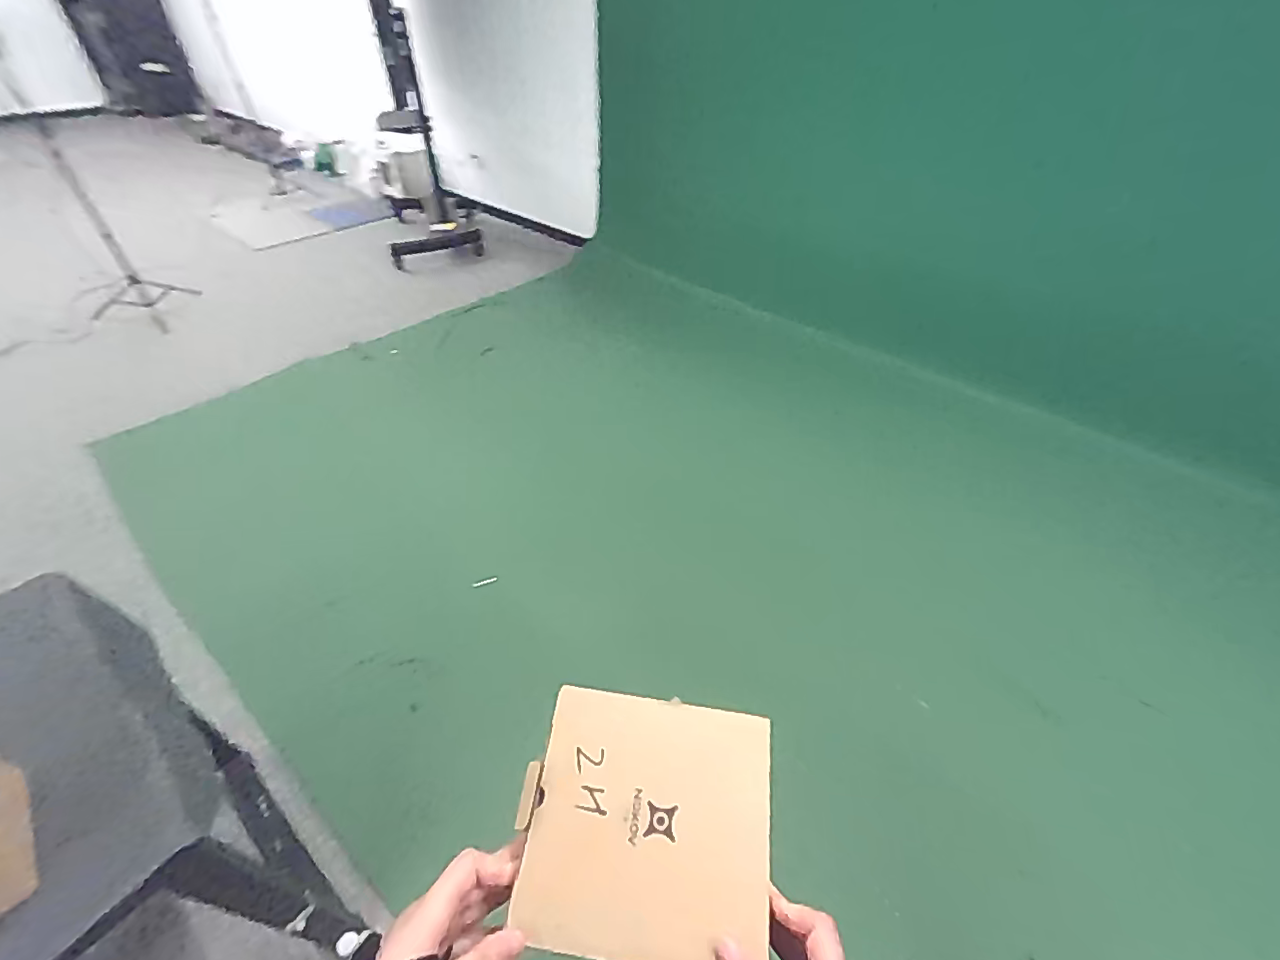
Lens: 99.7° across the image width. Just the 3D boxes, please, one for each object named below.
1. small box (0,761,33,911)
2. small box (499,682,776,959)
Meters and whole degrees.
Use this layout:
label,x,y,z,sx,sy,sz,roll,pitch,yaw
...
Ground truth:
label,x,y,z,sx,sy,sz,roll,pitch,yaw
small box,-0.783,0.383,0.546,0.168,0.176,0.179,-33,52,-31
small box,0.006,0.286,0.446,0.179,0.176,0.168,7,53,5
